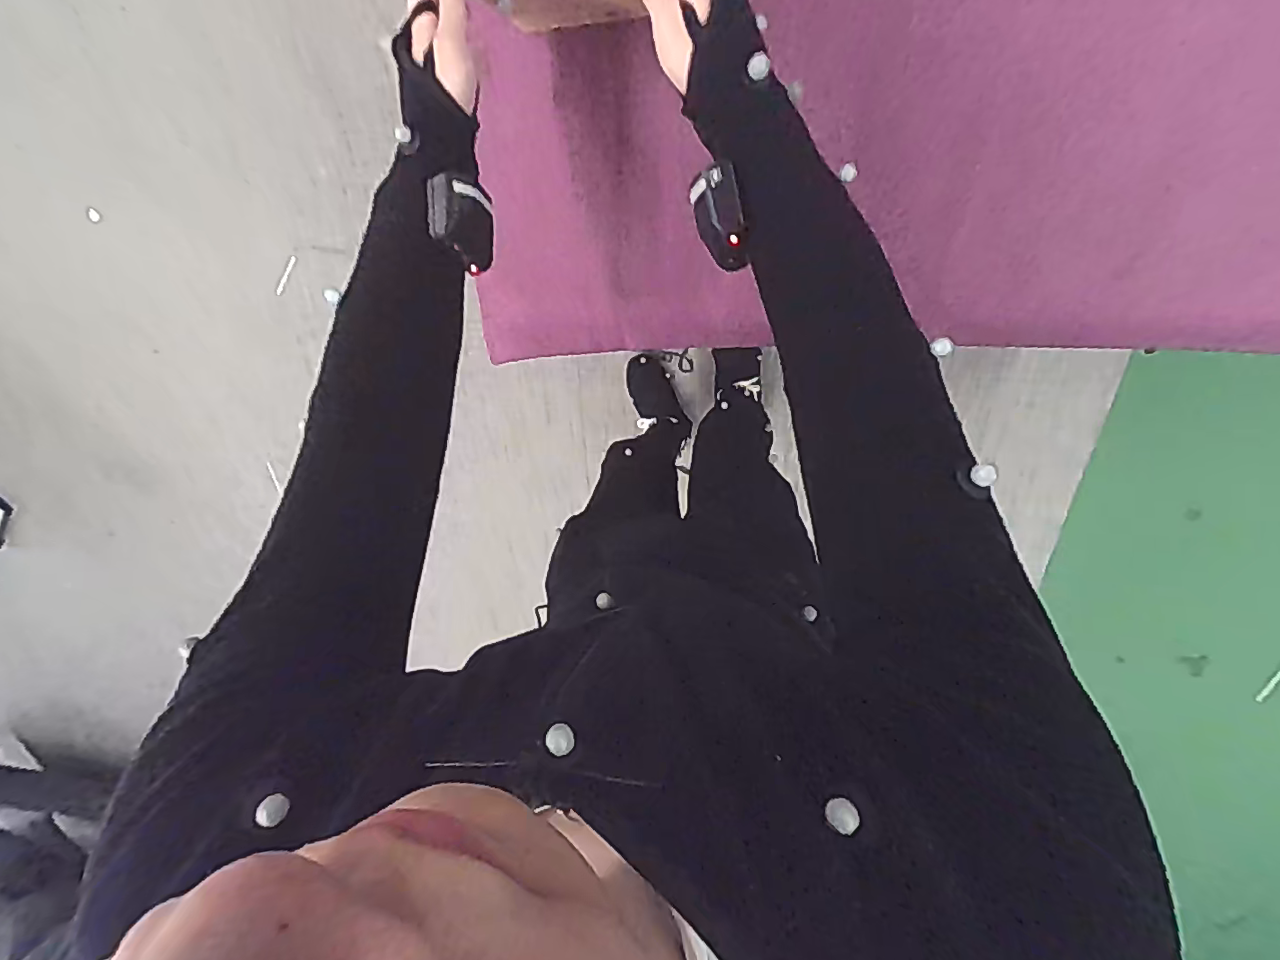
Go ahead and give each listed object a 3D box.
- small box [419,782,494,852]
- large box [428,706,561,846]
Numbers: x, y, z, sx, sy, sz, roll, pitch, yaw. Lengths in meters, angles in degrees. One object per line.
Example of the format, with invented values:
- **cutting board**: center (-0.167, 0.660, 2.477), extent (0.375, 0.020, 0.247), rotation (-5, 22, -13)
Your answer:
- **small box**: center (-0.669, 1.258, 1.992), extent (0.168, 0.176, 0.179), rotation (42, 117, -10)
- **large box**: center (-0.593, 1.210, 2.230), extent (0.408, 0.320, 0.320), rotation (24, 120, -1)
